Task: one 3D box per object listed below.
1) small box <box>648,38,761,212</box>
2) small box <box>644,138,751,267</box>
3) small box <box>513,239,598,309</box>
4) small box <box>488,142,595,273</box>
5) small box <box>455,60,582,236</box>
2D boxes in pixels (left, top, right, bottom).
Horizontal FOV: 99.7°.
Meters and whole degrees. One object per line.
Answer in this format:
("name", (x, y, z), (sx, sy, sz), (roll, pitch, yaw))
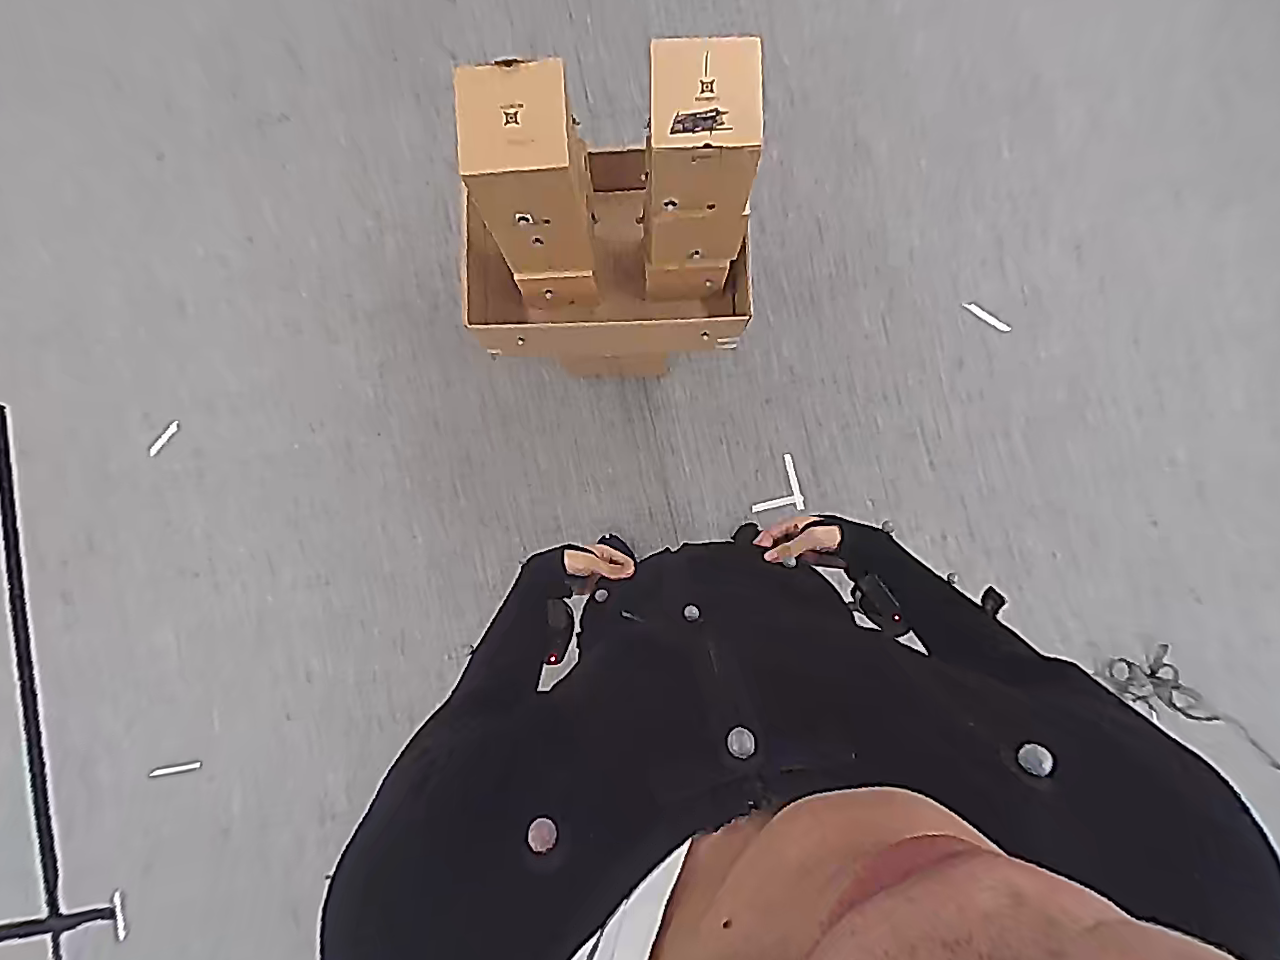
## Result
("small box", (0.097, -0.554, 0.866), (0.168, 0.176, 0.179), (0, 85, 1))
("small box", (0.102, -0.525, 1.029), (0.179, 0.176, 0.168), (-5, 86, 0))
("small box", (-0.184, -0.492, 1.200), (0.168, 0.176, 0.179), (-3, 85, 0))
("small box", (-0.182, -0.513, 1.037), (0.179, 0.176, 0.168), (-2, 85, 0))
("small box", (-0.189, -0.526, 0.873), (0.168, 0.176, 0.179), (-4, 84, 1))
